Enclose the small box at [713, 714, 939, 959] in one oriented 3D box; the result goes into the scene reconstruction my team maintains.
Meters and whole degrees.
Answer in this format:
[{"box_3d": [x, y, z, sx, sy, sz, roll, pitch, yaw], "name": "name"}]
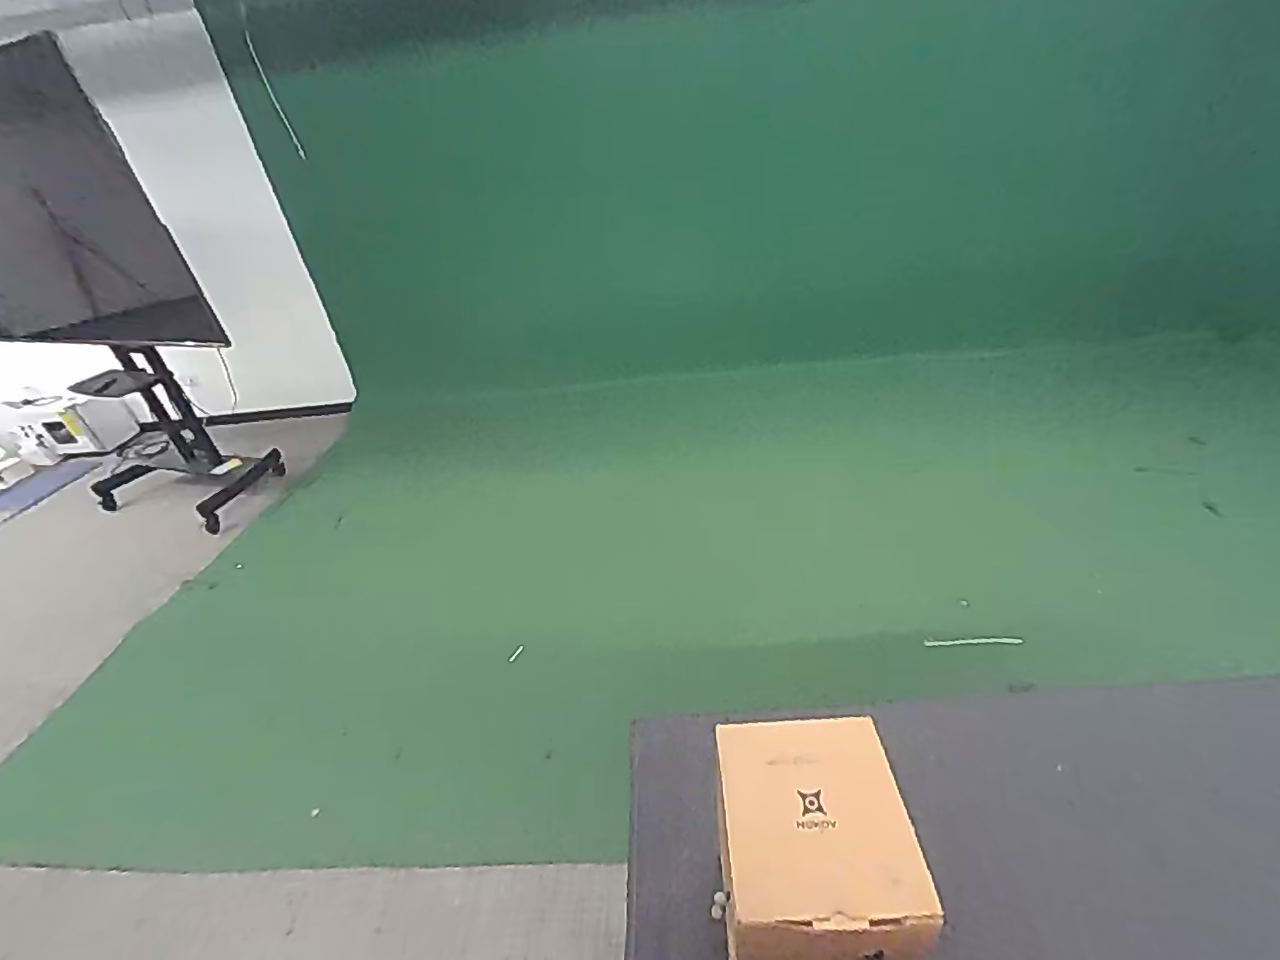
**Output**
[{"box_3d": [0.166, 0.365, 0.540, 0.168, 0.176, 0.179, -5, 31, 3], "name": "small box"}]
